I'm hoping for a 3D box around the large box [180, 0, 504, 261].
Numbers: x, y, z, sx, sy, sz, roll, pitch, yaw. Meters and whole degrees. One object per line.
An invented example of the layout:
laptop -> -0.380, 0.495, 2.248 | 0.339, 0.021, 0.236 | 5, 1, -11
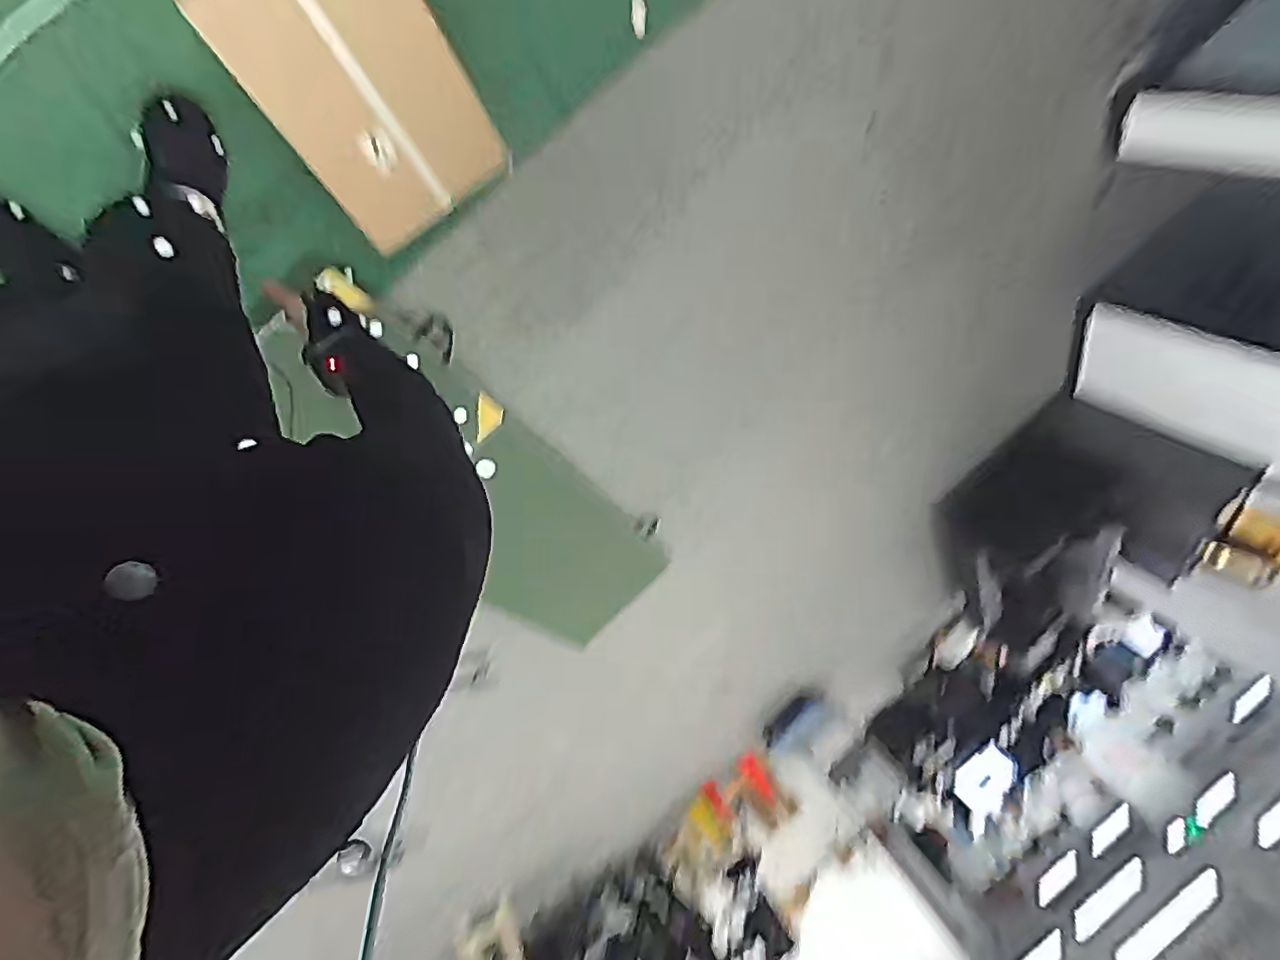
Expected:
large box -> -0.541, -0.706, 1.022 | 0.320, 0.320, 0.408 | -39, 137, -5
